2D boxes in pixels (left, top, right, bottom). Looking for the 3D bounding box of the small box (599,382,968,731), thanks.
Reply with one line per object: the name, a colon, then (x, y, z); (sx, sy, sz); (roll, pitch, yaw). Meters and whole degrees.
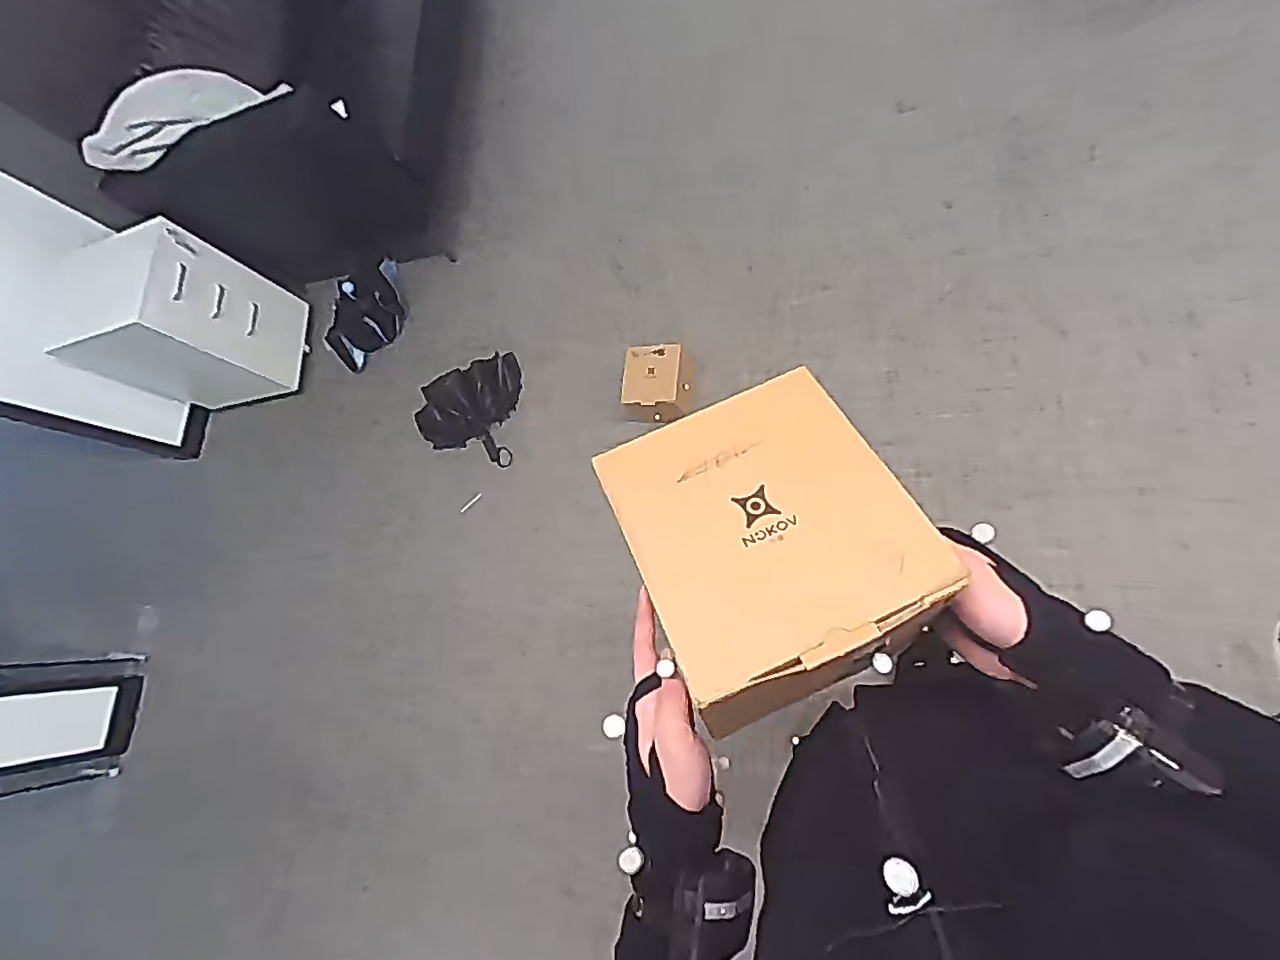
small box: (0.090, 0.067, 0.401); (0.168, 0.176, 0.179); (-24, 57, -4)
